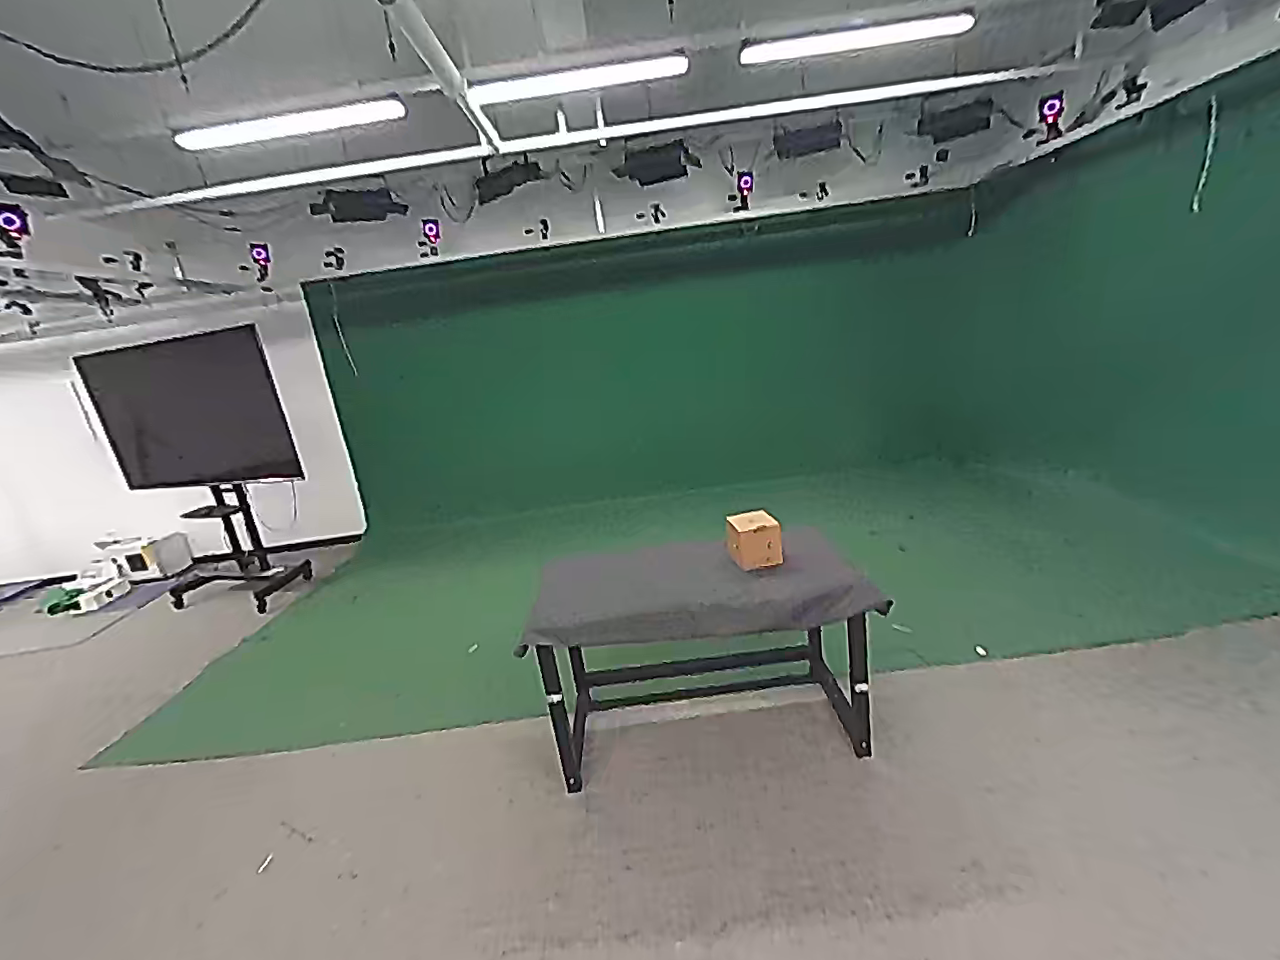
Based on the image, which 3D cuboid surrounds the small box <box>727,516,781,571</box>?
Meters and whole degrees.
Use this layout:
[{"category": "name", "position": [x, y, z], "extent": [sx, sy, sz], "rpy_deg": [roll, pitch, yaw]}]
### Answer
[{"category": "small box", "position": [0.457, 0.258, 2.162], "extent": [0.168, 0.176, 0.179], "rpy_deg": [-8, 14, -8]}]
